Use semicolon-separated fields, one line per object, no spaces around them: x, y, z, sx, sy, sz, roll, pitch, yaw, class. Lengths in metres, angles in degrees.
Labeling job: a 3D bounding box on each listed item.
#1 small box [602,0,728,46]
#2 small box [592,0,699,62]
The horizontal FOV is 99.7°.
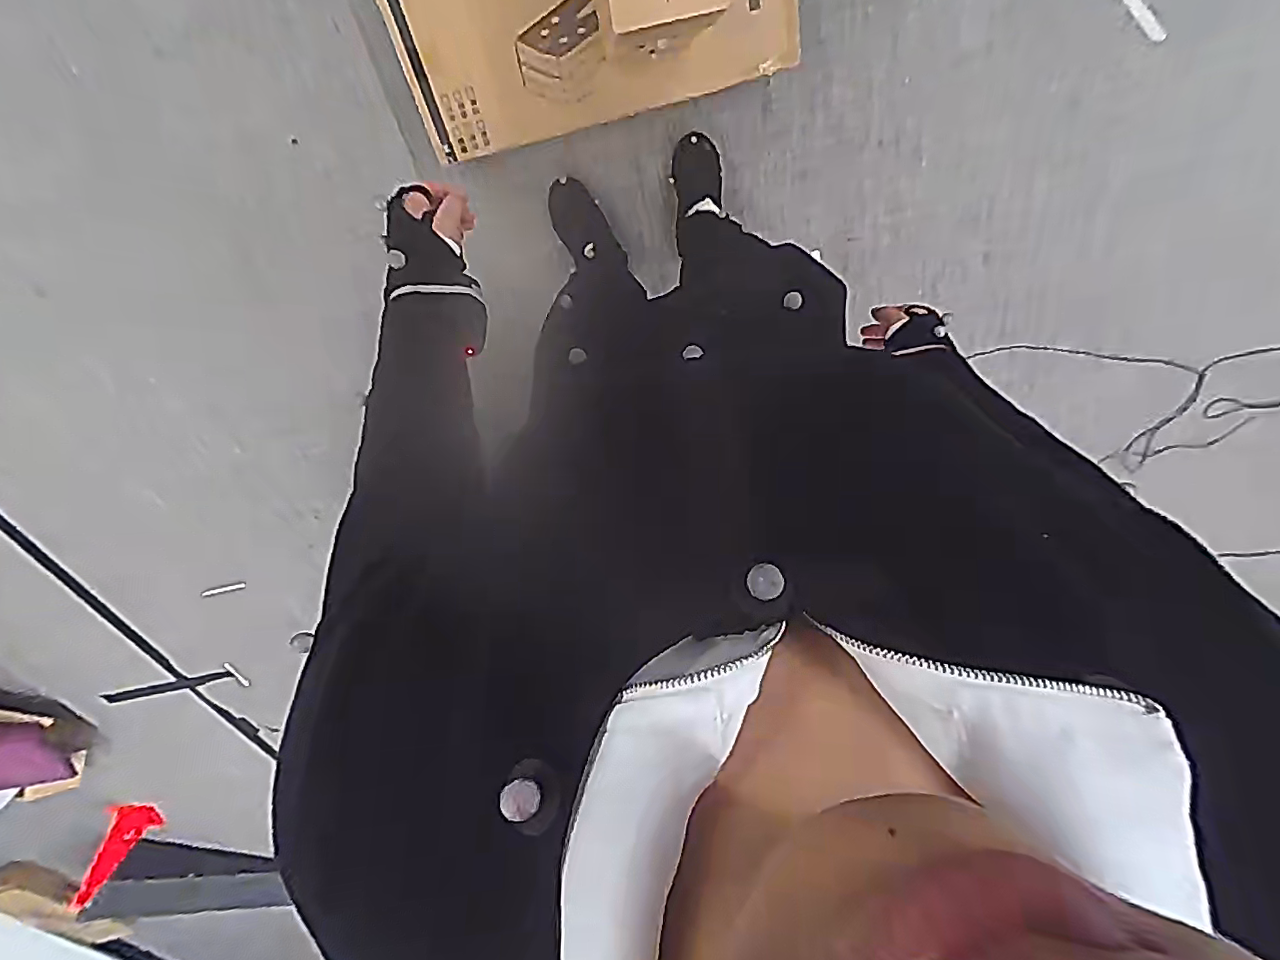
0.021;-0.745;0.760;0.168;0.176;0.179;-11;124;3;small box
0.001;-0.831;0.898;0.168;0.176;0.179;-14;123;5;small box
